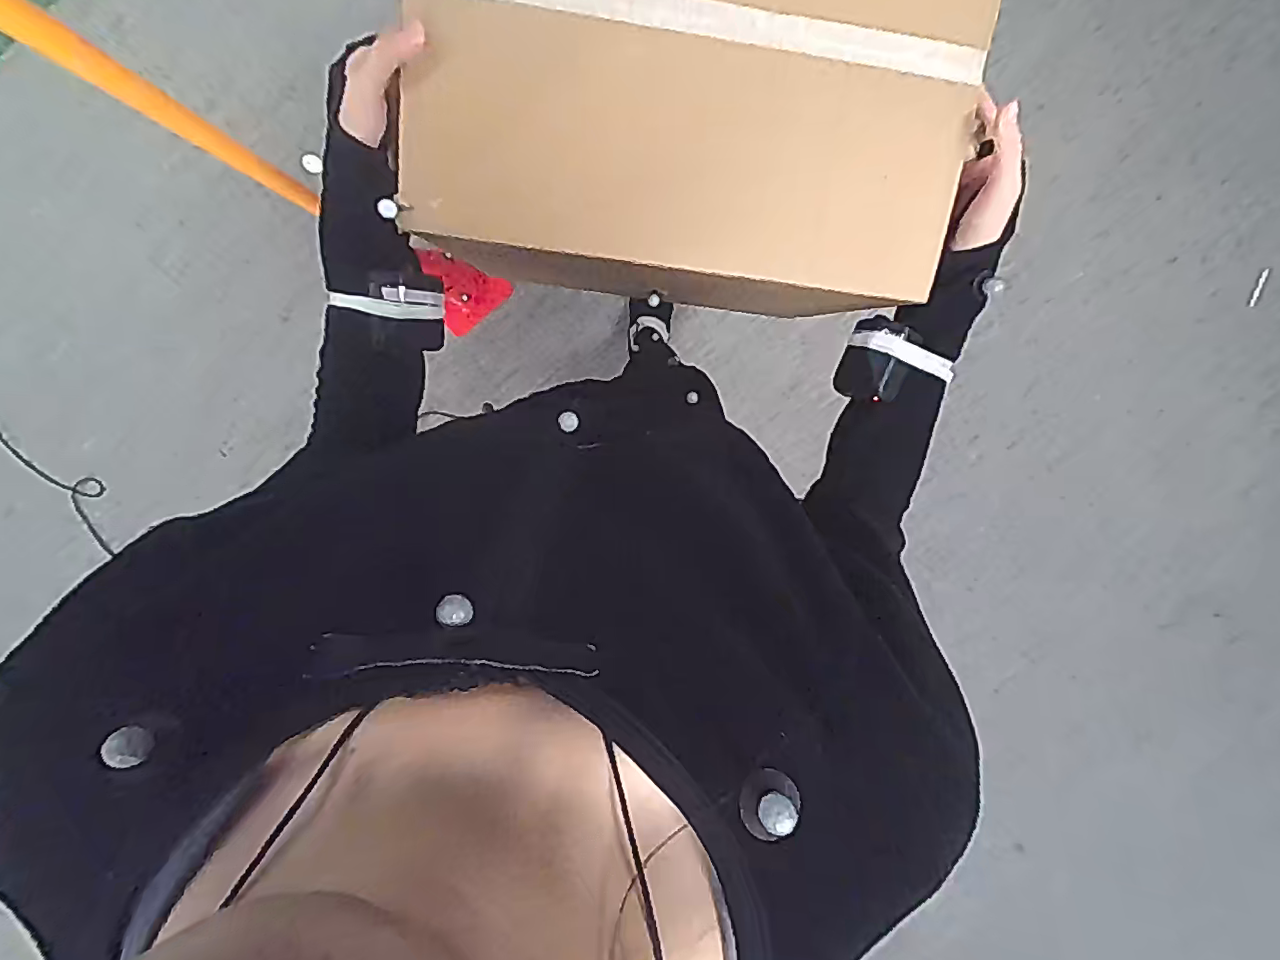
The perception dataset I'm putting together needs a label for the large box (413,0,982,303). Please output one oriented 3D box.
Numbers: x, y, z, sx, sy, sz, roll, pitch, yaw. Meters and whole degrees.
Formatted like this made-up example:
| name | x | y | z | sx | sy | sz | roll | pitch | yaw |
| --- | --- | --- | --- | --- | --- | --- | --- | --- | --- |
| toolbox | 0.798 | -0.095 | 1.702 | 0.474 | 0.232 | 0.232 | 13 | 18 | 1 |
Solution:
| name | x | y | z | sx | sy | sz | roll | pitch | yaw |
| --- | --- | --- | --- | --- | --- | --- | --- | --- | --- |
| large box | 0.036 | -0.357 | 0.527 | 0.408 | 0.320 | 0.320 | 6 | 105 | -5 |
